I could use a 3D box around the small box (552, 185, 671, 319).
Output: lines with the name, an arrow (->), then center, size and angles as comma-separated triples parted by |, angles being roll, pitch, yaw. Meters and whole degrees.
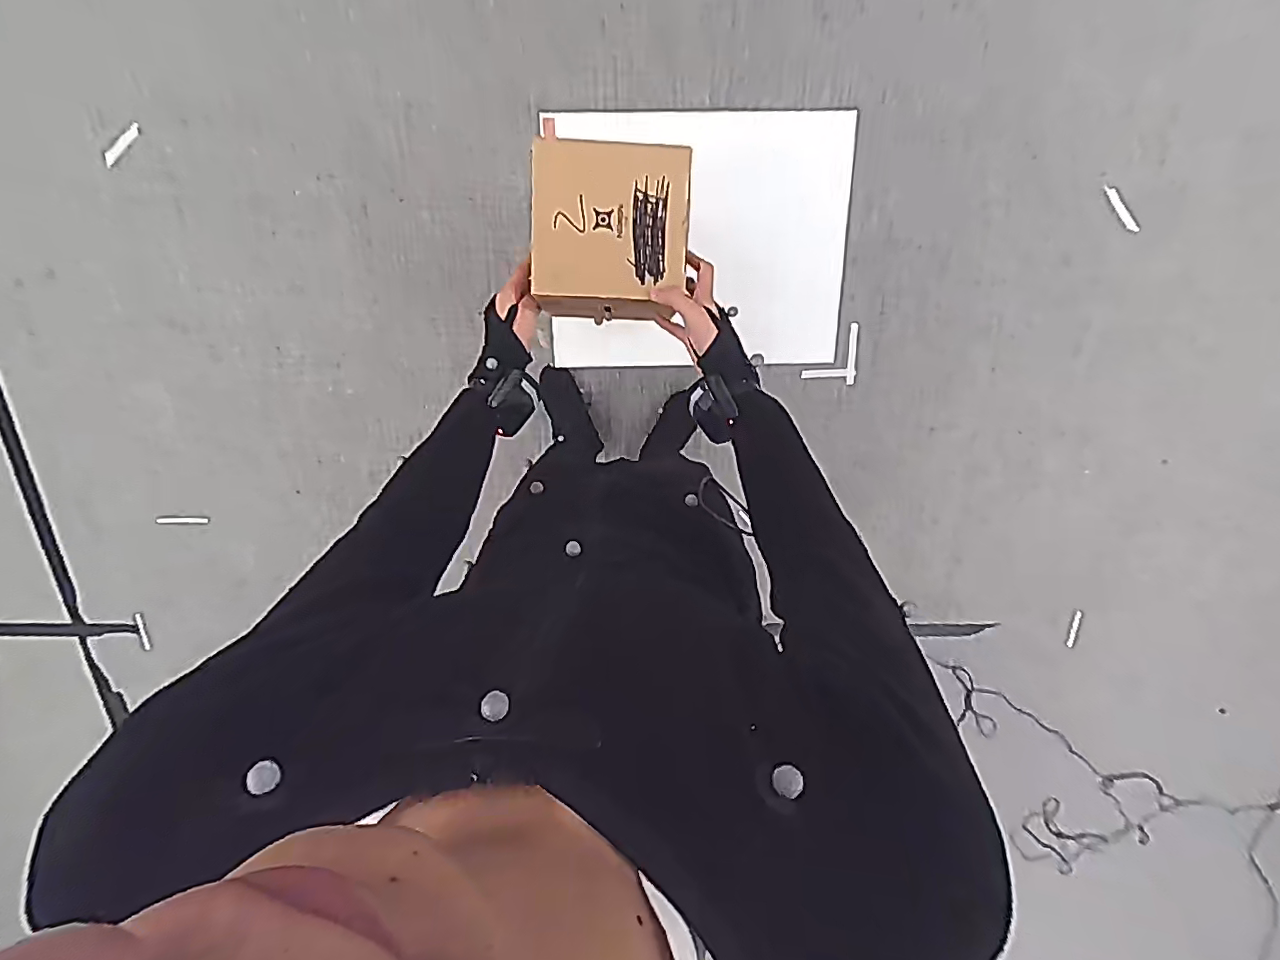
small box -> -0.042, -0.345, 0.842 | 0.168, 0.176, 0.179 | -1, 107, -2
